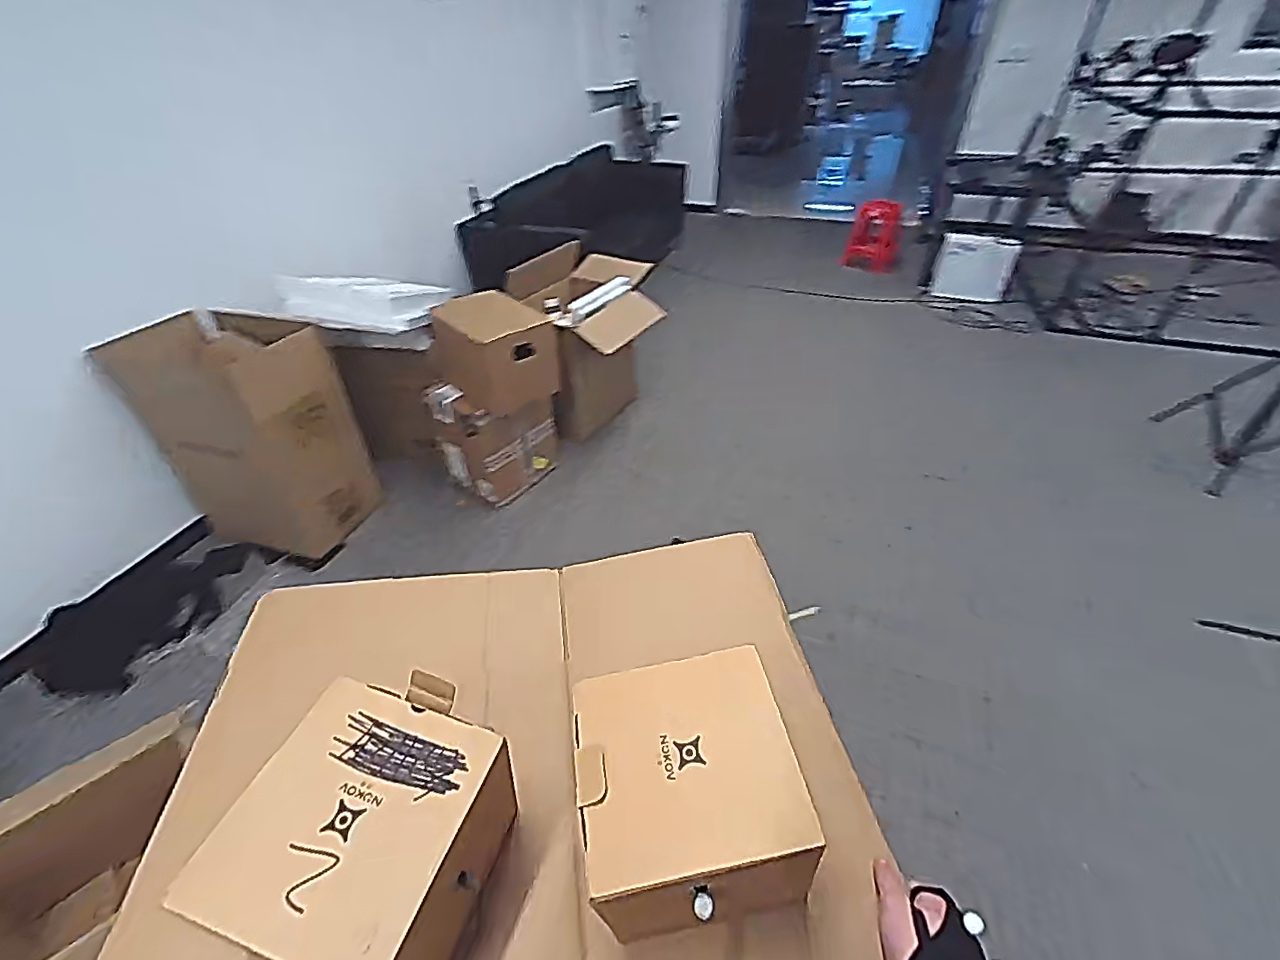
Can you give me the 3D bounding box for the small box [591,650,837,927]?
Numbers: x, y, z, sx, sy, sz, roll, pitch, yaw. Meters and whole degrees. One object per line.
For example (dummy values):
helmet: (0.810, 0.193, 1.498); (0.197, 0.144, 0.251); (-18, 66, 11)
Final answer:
small box: (0.059, 0.288, 0.506); (0.179, 0.176, 0.168); (-12, 42, -2)
